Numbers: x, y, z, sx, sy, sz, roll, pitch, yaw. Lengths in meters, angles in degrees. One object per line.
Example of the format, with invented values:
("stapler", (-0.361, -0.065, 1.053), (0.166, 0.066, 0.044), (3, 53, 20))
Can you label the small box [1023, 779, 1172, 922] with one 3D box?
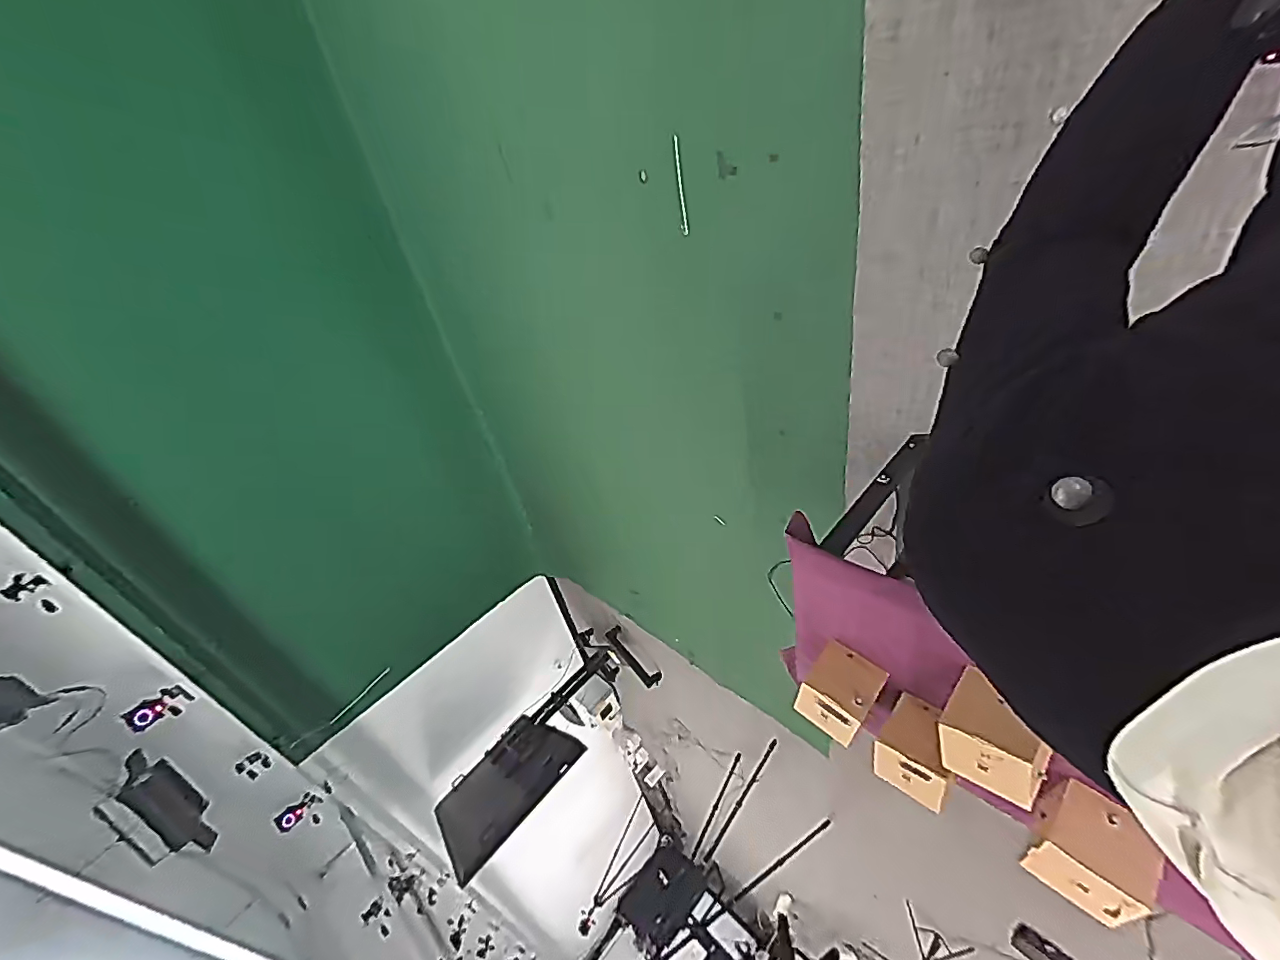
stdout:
("small box", (0.963, 0.770, 1.144), (0.179, 0.176, 0.168), (30, 144, 34))

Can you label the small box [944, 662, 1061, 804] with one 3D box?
("small box", (0.766, 0.528, 1.144), (0.168, 0.176, 0.179), (14, 135, 46))
